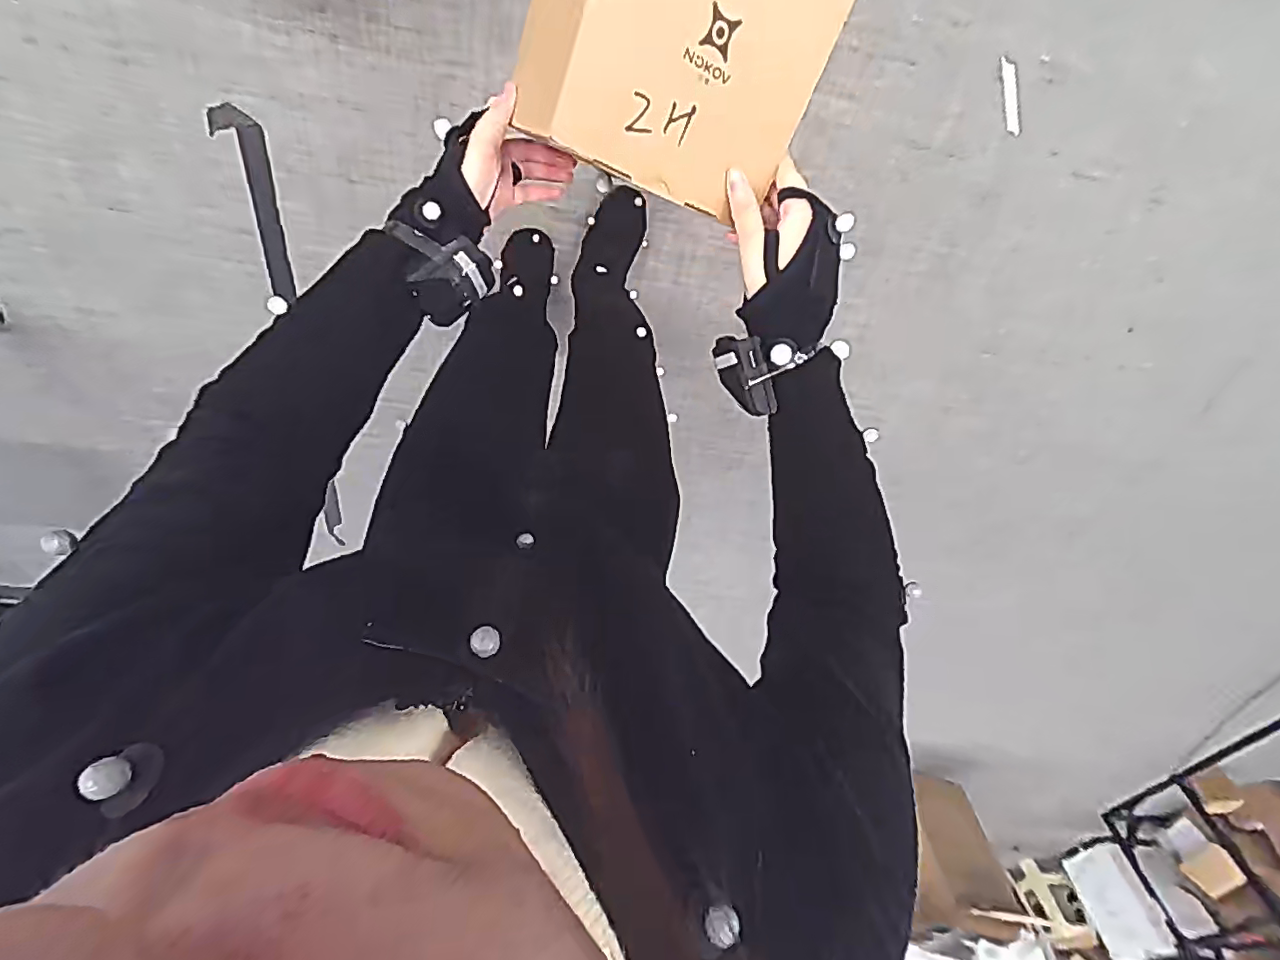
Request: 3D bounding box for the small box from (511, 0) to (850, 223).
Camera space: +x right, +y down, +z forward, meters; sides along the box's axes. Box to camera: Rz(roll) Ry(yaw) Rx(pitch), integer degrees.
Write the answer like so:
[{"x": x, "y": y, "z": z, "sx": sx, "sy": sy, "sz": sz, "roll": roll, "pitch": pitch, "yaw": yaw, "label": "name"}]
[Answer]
[{"x": 0.016, "y": -0.321, "z": 0.394, "sx": 0.168, "sy": 0.176, "sz": 0.179, "roll": 9, "pitch": 120, "yaw": -30, "label": "small box"}]
